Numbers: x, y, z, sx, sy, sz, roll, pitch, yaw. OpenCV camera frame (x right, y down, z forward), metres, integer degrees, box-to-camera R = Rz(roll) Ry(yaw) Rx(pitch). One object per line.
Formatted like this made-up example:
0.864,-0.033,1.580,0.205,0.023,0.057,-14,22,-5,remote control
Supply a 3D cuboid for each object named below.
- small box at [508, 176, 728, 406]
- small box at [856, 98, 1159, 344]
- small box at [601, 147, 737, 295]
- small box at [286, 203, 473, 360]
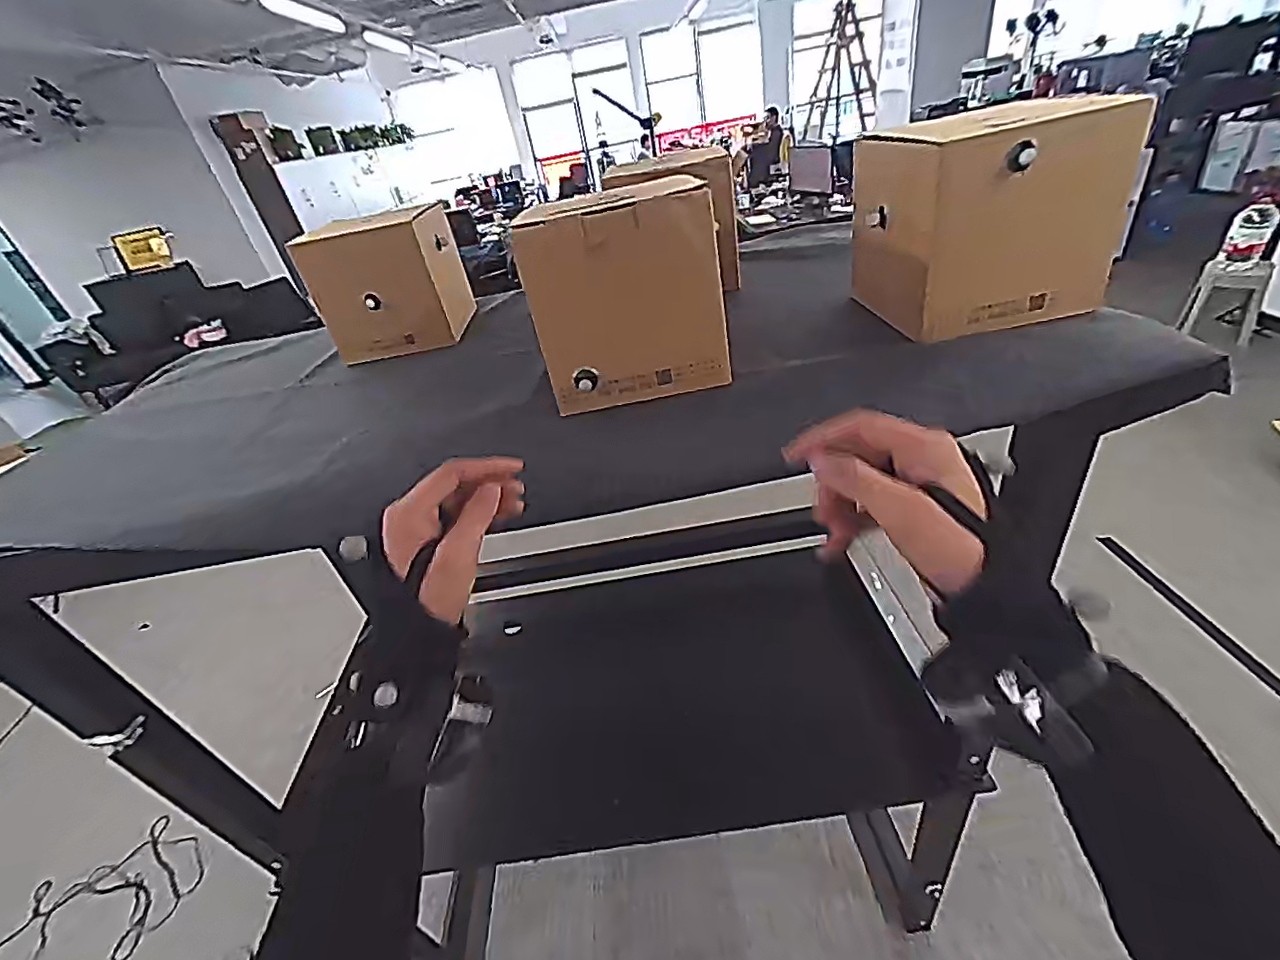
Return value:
-0.014,-0.182,0.531,0.168,0.176,0.179,-10,32,3,small box
0.320,-0.247,0.522,0.168,0.176,0.179,-11,33,3,small box
0.047,-0.363,0.781,0.168,0.176,0.179,-6,34,7,small box
-0.359,-0.285,0.789,0.168,0.176,0.179,-10,34,2,small box
